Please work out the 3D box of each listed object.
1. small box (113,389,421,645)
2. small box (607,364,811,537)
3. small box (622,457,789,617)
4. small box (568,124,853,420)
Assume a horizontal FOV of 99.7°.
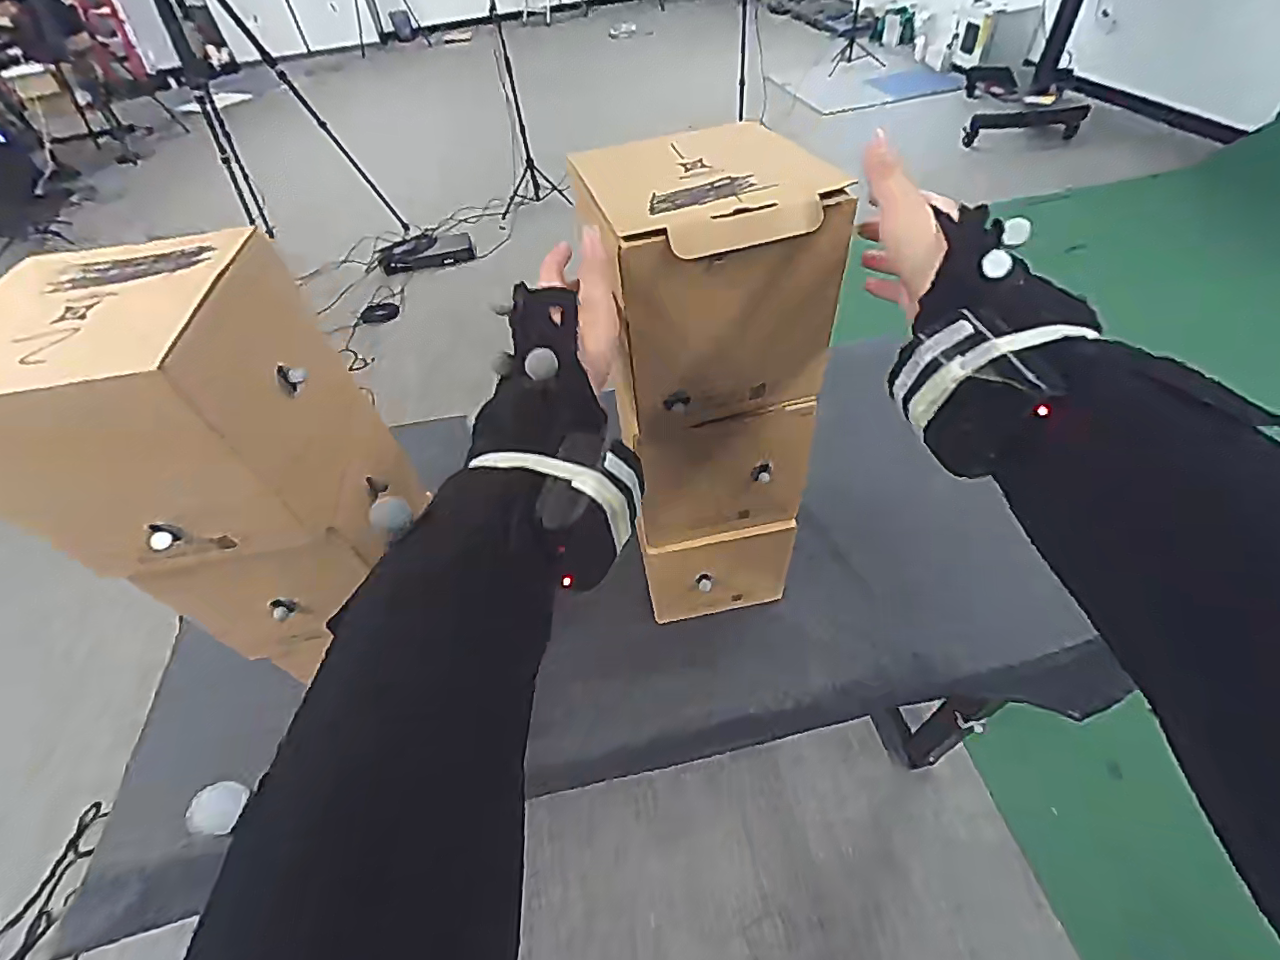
[{"bbox_3d":[-0.328,0.042,0.525,0.168,0.176,0.179,-11,49,-5],"label":"small box"},{"bbox_3d":[0.062,-0.056,0.574,0.168,0.176,0.179,-11,47,-4],"label":"small box"},{"bbox_3d":[0.077,0.058,0.689,0.168,0.176,0.179,-11,48,-3],"label":"small box"},{"bbox_3d":[0.047,-0.168,0.455,0.168,0.176,0.179,-14,48,-8],"label":"small box"}]
